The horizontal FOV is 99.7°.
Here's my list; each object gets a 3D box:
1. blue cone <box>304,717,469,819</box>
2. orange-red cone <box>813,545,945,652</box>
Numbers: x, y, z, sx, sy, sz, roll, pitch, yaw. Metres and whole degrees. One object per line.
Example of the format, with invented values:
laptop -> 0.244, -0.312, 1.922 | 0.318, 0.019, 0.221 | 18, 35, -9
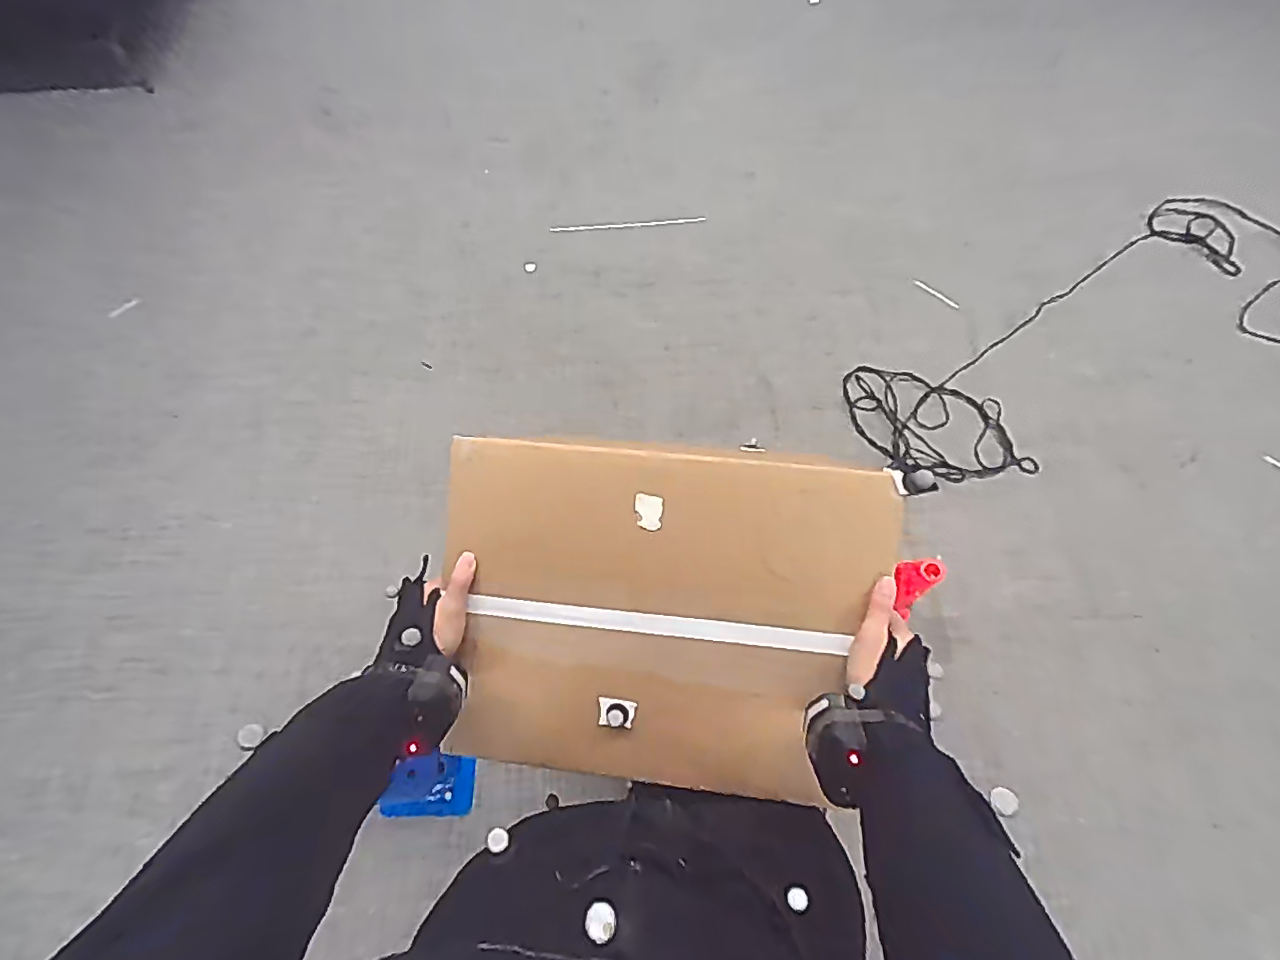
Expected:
blue cone -> -0.474, 0.551, 1.000 | 0.192, 0.380, 0.193 | -2, 68, 4
orange-red cone -> 0.492, 0.202, 1.044 | 0.199, 0.360, 0.198 | 18, 72, 9
